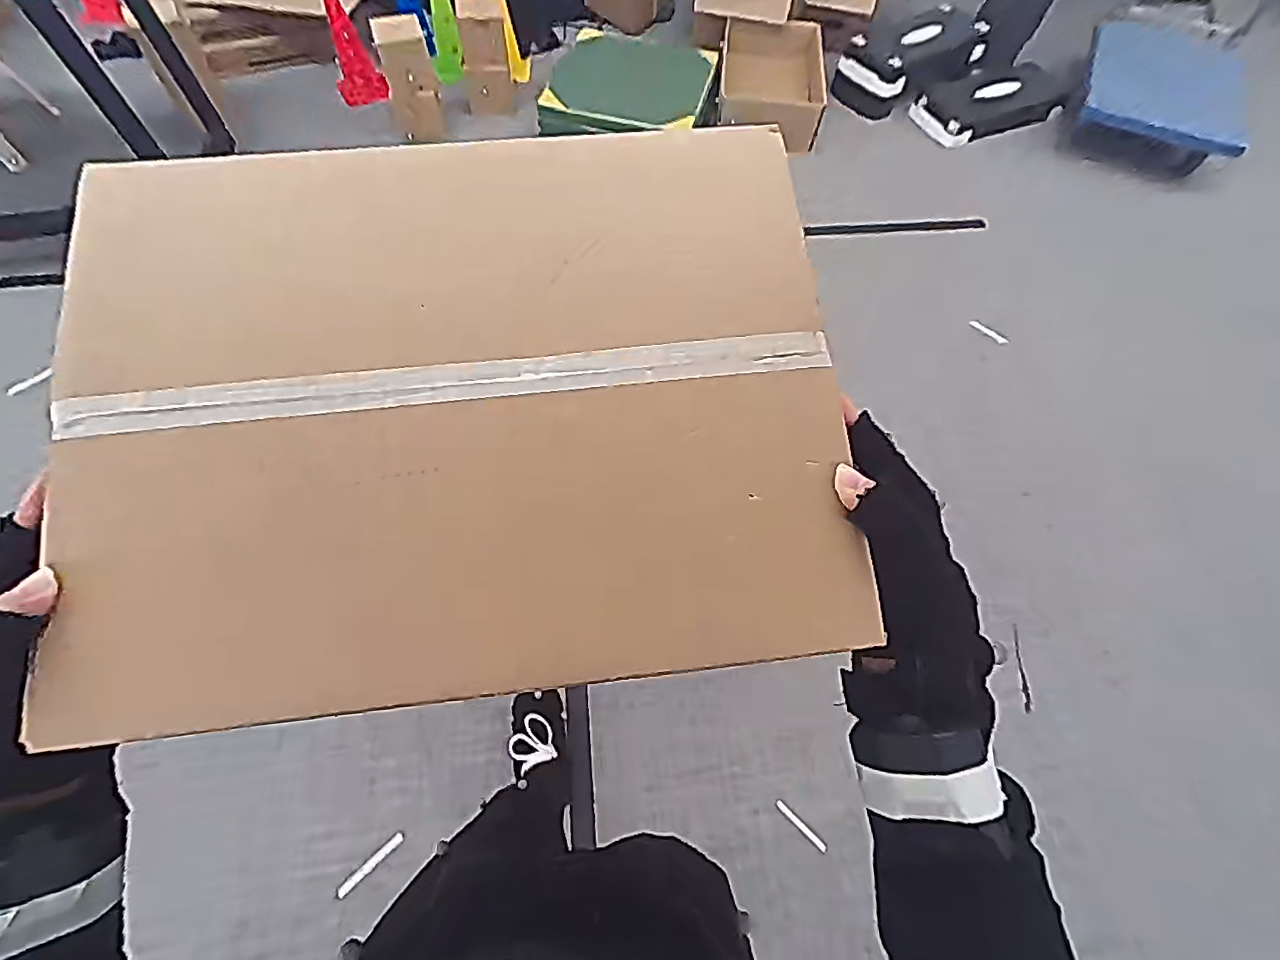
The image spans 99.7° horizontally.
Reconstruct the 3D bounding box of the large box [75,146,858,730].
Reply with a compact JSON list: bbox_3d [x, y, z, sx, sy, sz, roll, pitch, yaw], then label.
[{"bbox_3d":[-0.104,-0.015,0.452,0.408,0.320,0.320,-6,78,-4],"label":"large box"}]
